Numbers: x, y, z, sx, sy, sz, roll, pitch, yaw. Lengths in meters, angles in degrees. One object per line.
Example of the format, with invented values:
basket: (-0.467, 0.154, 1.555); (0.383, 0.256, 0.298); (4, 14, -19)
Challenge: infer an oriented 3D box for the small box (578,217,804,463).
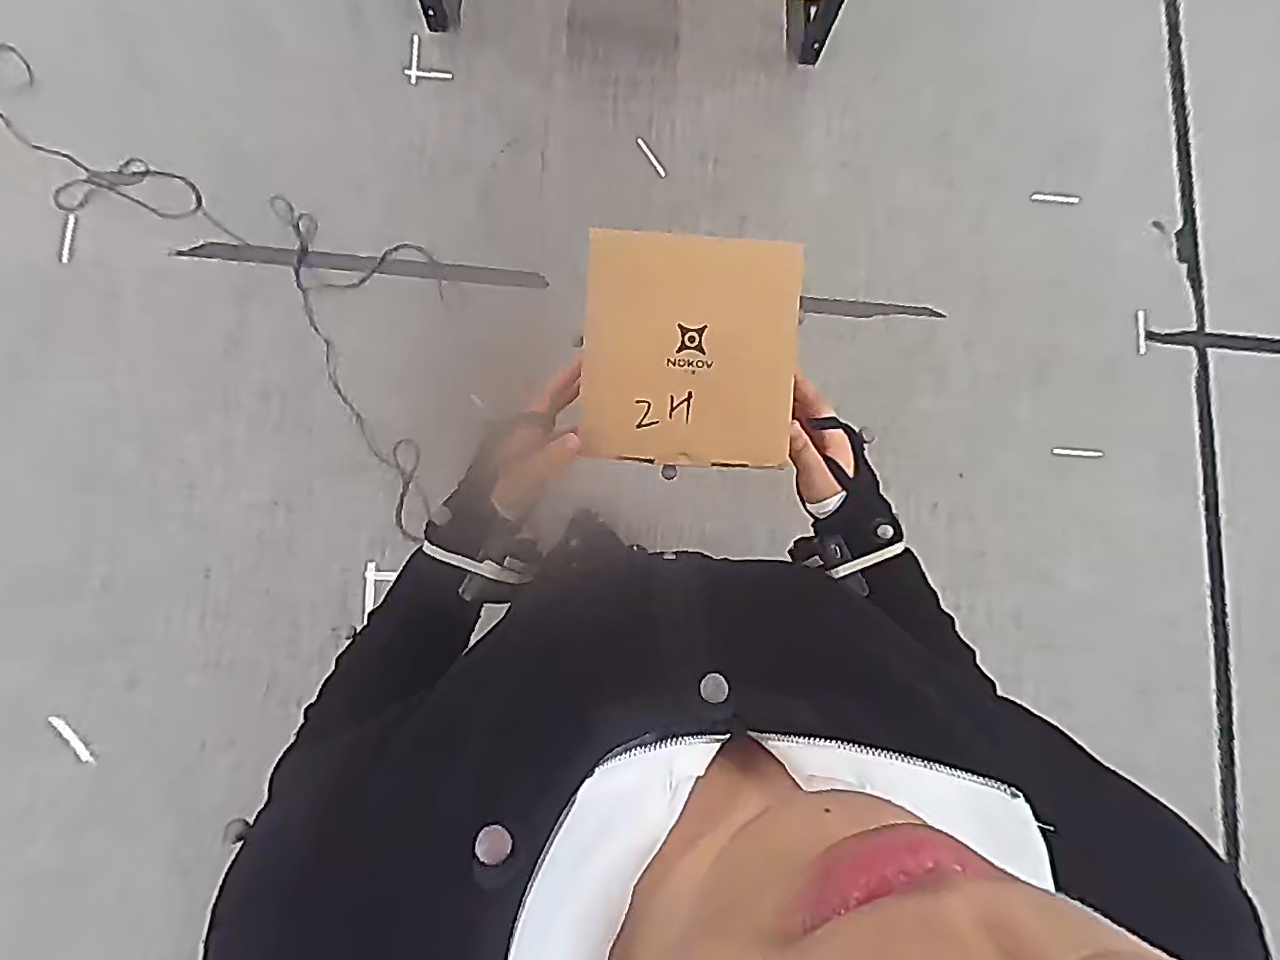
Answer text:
small box: (0.037, -0.108, 0.489); (0.168, 0.176, 0.179); (3, 92, -1)
